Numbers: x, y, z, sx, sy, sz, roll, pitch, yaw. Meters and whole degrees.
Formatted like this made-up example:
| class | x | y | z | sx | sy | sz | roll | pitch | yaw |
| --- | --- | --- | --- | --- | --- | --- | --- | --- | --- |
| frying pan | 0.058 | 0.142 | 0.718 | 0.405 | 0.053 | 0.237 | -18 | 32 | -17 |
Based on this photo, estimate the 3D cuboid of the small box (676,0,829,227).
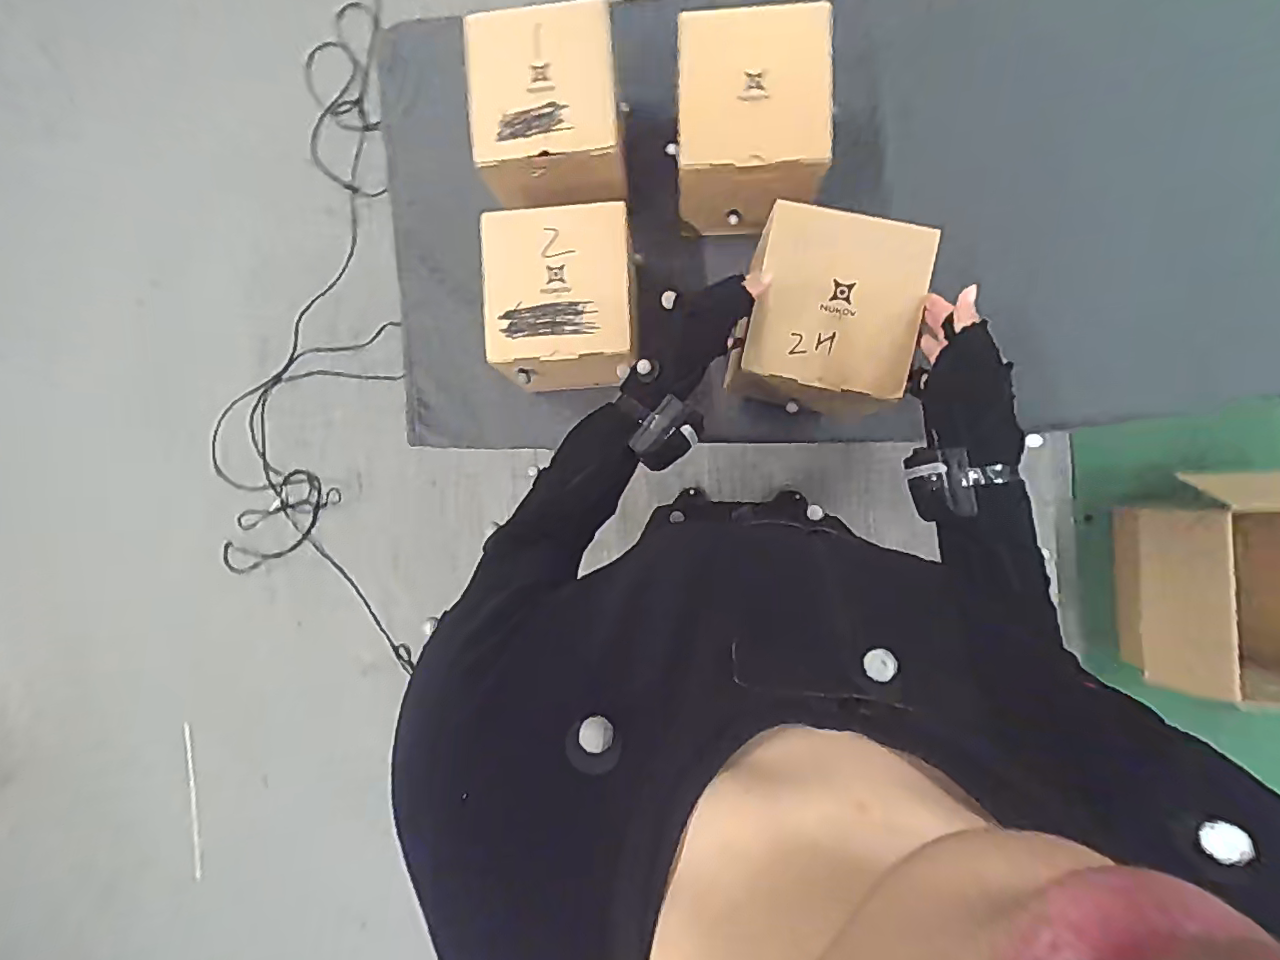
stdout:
| class | x | y | z | sx | sy | sz | roll | pitch | yaw |
| --- | --- | --- | --- | --- | --- | --- | --- | --- | --- |
| small box | 0.128 | -0.441 | 0.672 | 0.168 | 0.176 | 0.179 | -1 | 91 | 4 |

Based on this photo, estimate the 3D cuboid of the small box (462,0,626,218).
| class | x | y | z | sx | sy | sz | roll | pitch | yaw |
| --- | --- | --- | --- | --- | --- | --- | --- | --- | --- |
| small box | -0.111 | -0.456 | 0.688 | 0.168 | 0.176 | 0.179 | -4 | 89 | 4 |

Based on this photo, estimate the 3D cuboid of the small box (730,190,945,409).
| class | x | y | z | sx | sy | sz | roll | pitch | yaw |
| --- | --- | --- | --- | --- | --- | --- | --- | --- | --- |
| small box | 0.204 | -0.187 | 0.613 | 0.168 | 0.176 | 0.179 | 13 | 93 | 3 |
